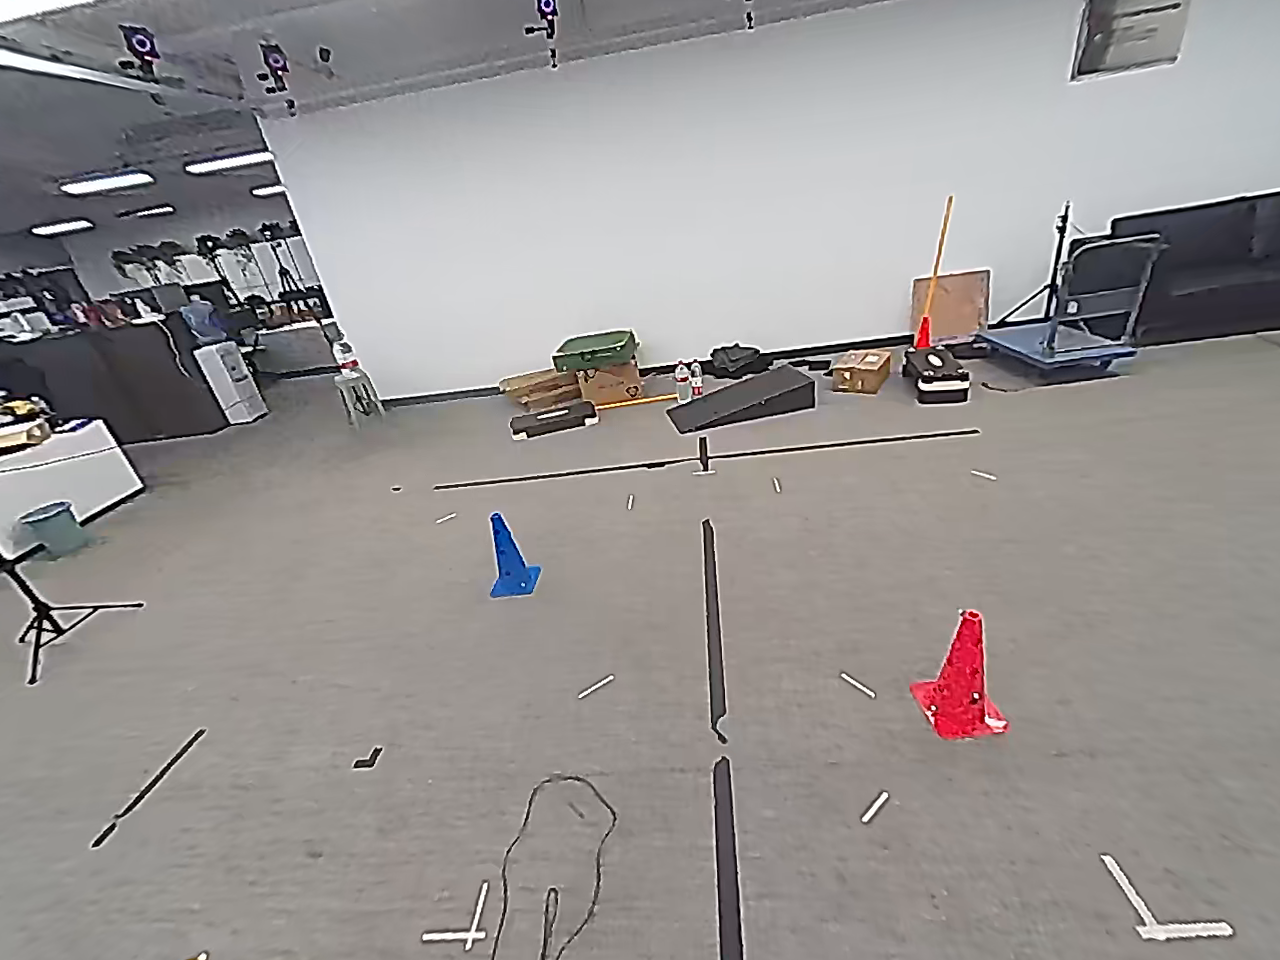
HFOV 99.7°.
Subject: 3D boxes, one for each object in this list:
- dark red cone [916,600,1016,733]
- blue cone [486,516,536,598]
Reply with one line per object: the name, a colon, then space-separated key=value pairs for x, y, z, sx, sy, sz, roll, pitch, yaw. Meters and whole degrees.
dark red cone: x=0.910 y=0.492 z=1.491 sx=0.201 sy=0.394 sz=0.202 roll=-10 pitch=27 yaw=1
blue cone: x=-0.600 y=0.324 z=2.380 sx=0.192 sy=0.380 sz=0.193 roll=-6 pitch=27 yaw=9
